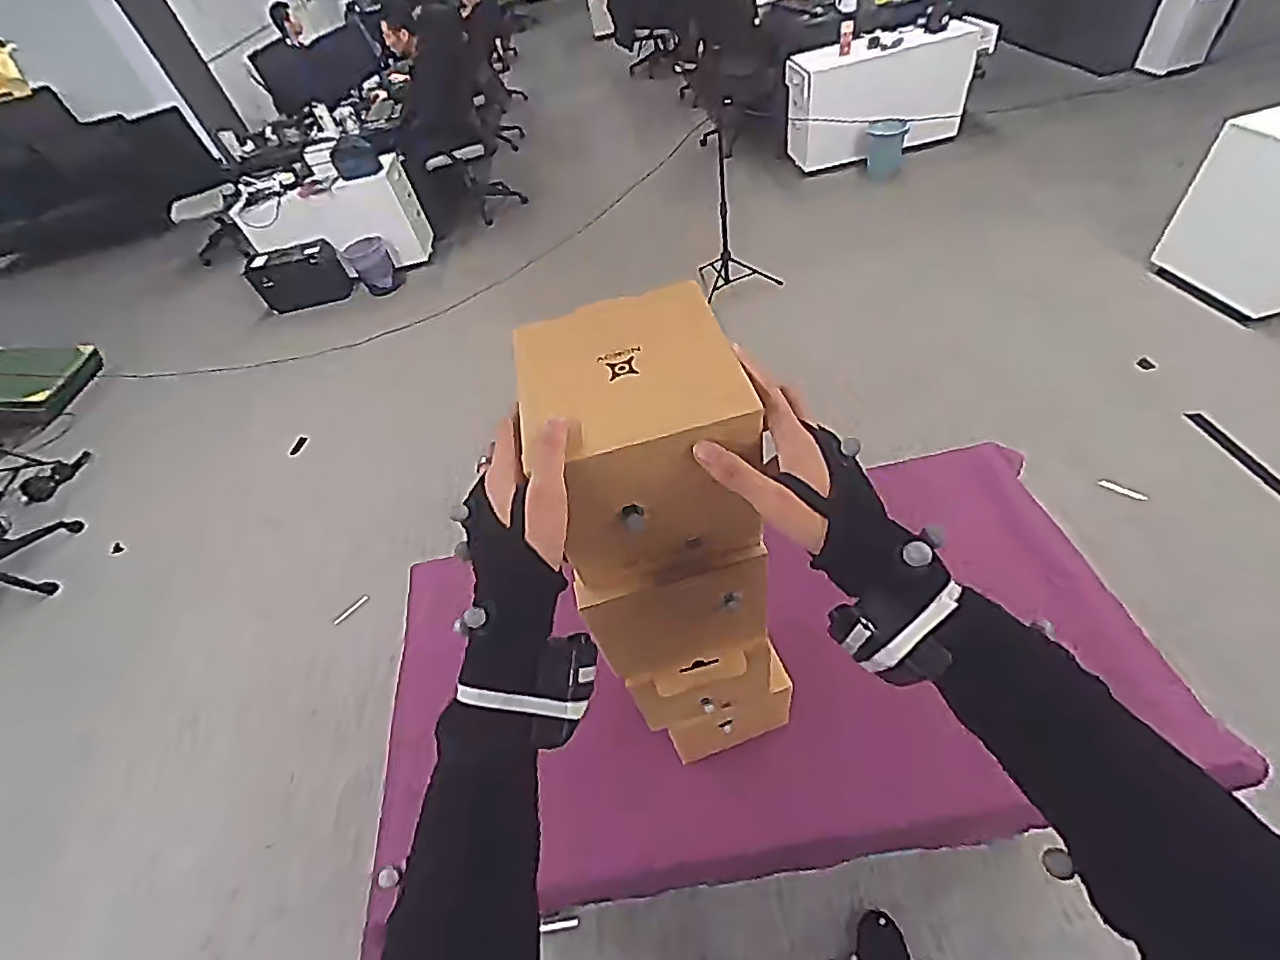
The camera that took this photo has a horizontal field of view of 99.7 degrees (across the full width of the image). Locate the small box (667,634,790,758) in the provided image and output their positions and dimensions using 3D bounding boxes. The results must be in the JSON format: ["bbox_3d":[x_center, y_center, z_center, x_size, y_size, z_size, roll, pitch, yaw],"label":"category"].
[{"bbox_3d":[0.110,0.291,0.814,0.179,0.176,0.168,-20,49,-5],"label":"small box"}]

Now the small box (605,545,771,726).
[{"bbox_3d":[0.059,0.187,0.696,0.168,0.176,0.179,-17,49,0],"label":"small box"}]

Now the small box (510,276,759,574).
[{"bbox_3d":[-0.001,-0.038,0.465,0.168,0.176,0.179,-16,48,0],"label":"small box"}]
